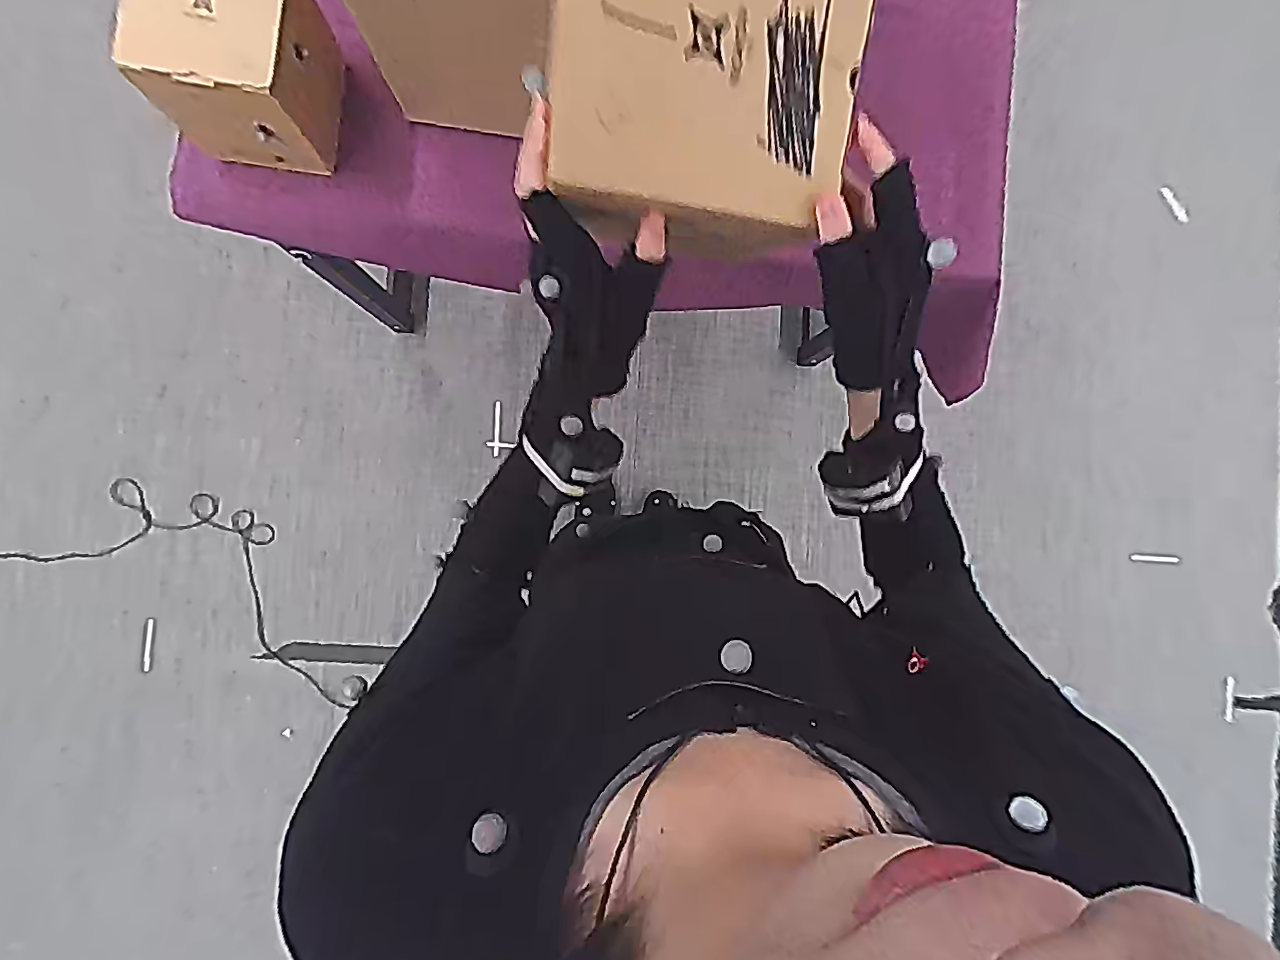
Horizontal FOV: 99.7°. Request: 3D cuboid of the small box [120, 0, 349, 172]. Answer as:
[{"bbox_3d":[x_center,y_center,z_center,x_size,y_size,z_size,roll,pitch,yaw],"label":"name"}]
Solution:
[{"bbox_3d":[-0.494,-0.530,0.687,0.168,0.176,0.179,6,86,-7],"label":"small box"}]
